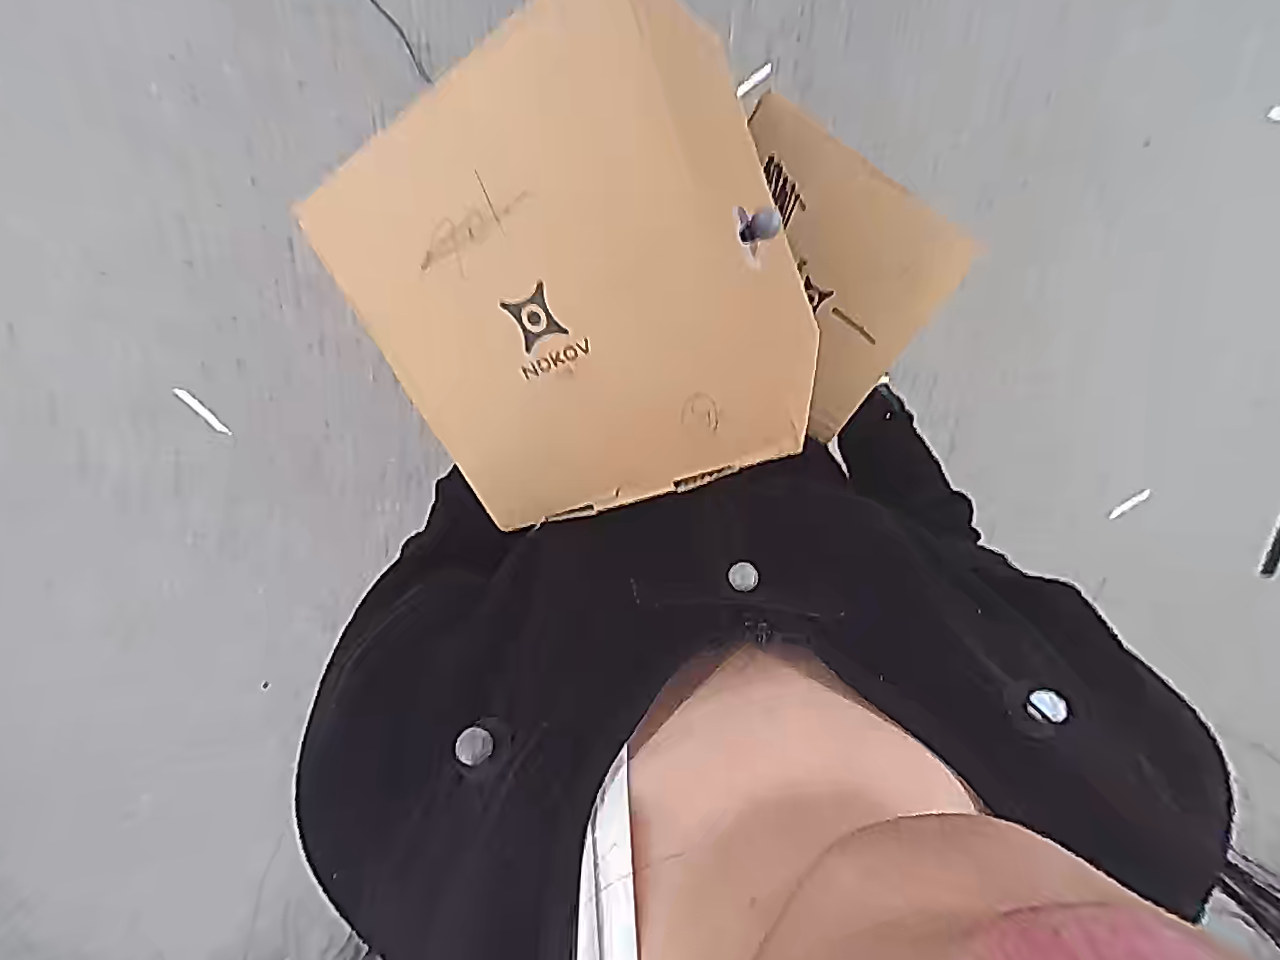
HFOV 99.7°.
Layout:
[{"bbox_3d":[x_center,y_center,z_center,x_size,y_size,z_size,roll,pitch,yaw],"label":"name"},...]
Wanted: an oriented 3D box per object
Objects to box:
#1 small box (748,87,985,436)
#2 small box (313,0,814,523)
[{"bbox_3d":[0.116,-0.168,0.441,0.179,0.176,0.168,28,114,-12],"label":"small box"},{"bbox_3d":[-0.012,-0.106,0.291,0.168,0.176,0.179,-17,113,27],"label":"small box"}]
